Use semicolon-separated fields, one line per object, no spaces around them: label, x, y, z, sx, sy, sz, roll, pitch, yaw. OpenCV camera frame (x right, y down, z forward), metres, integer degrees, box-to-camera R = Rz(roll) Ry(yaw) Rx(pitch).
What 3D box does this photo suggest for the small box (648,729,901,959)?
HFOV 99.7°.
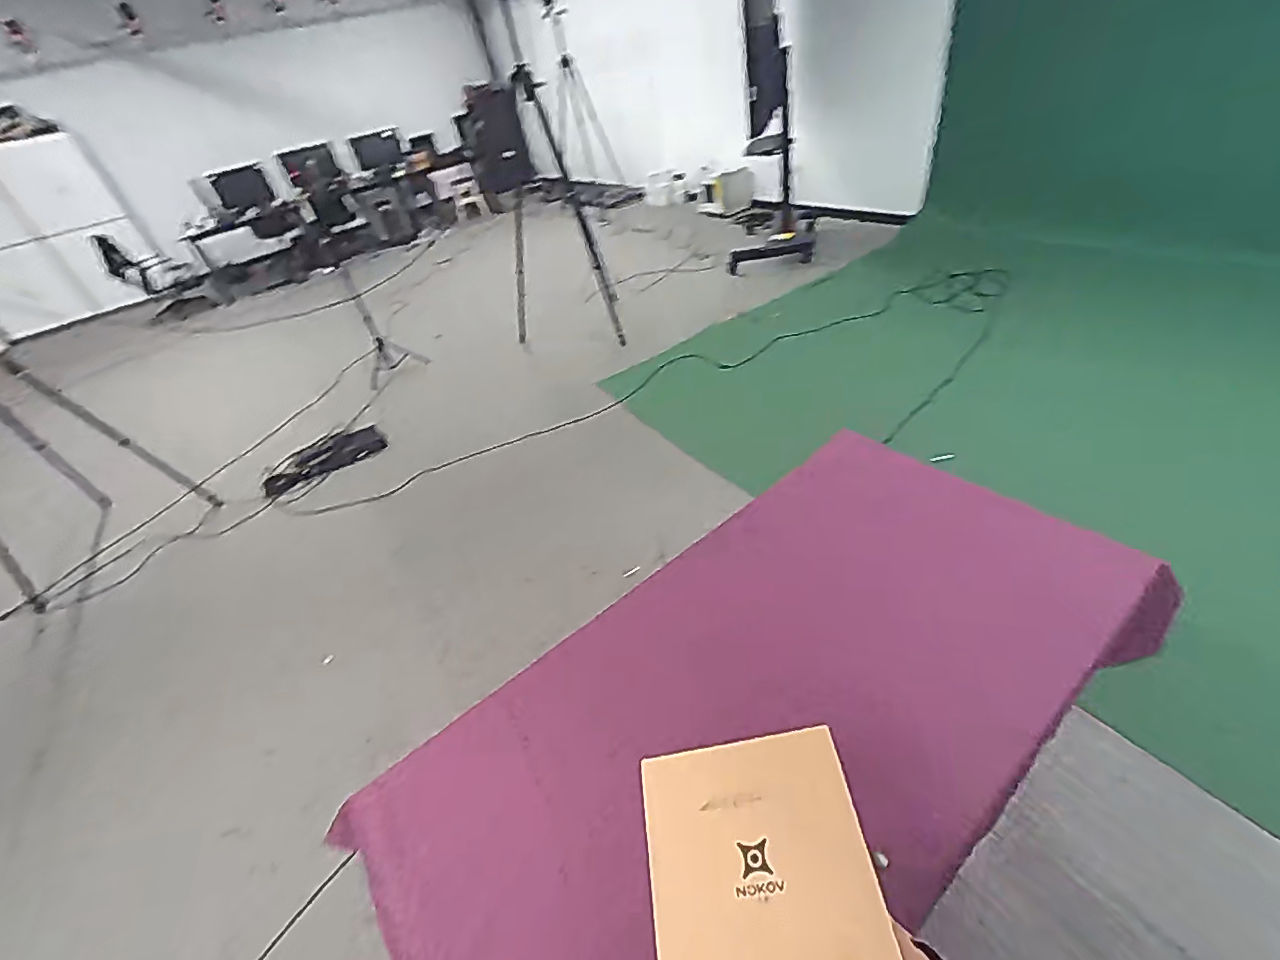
small box;0.111;0.340;0.463;0.168;0.176;0.179;-13;46;8
